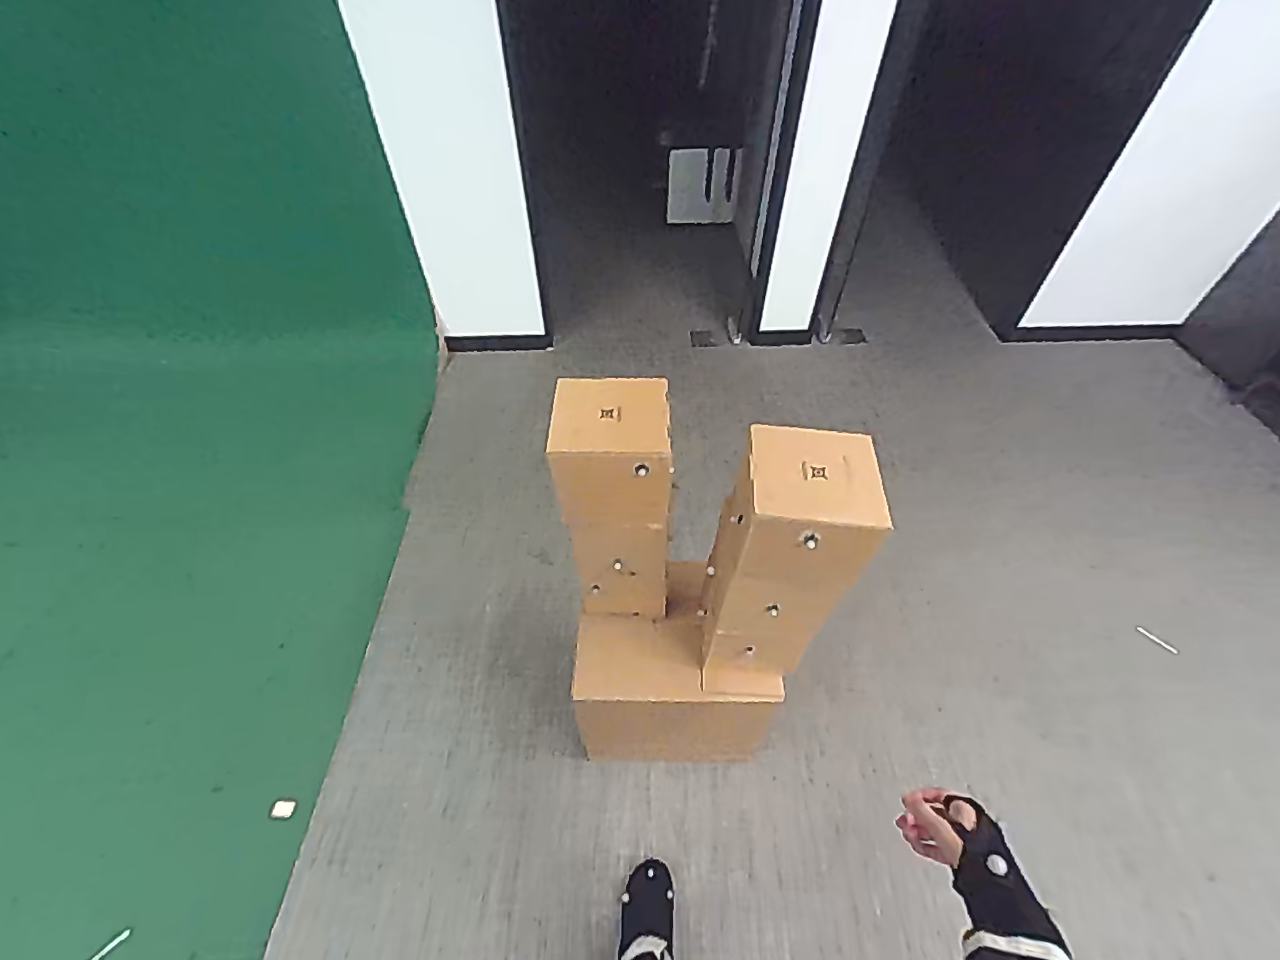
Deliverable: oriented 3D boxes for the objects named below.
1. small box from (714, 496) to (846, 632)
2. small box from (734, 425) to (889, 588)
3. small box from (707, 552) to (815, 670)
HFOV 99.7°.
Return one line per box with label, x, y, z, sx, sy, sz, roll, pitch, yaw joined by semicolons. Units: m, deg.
small box;0.224;0.145;0.912;0.179;0.176;0.168;2;49;2
small box;0.233;0.042;0.786;0.179;0.176;0.168;6;50;3
small box;0.220;0.253;1.035;0.179;0.176;0.168;1;51;2
